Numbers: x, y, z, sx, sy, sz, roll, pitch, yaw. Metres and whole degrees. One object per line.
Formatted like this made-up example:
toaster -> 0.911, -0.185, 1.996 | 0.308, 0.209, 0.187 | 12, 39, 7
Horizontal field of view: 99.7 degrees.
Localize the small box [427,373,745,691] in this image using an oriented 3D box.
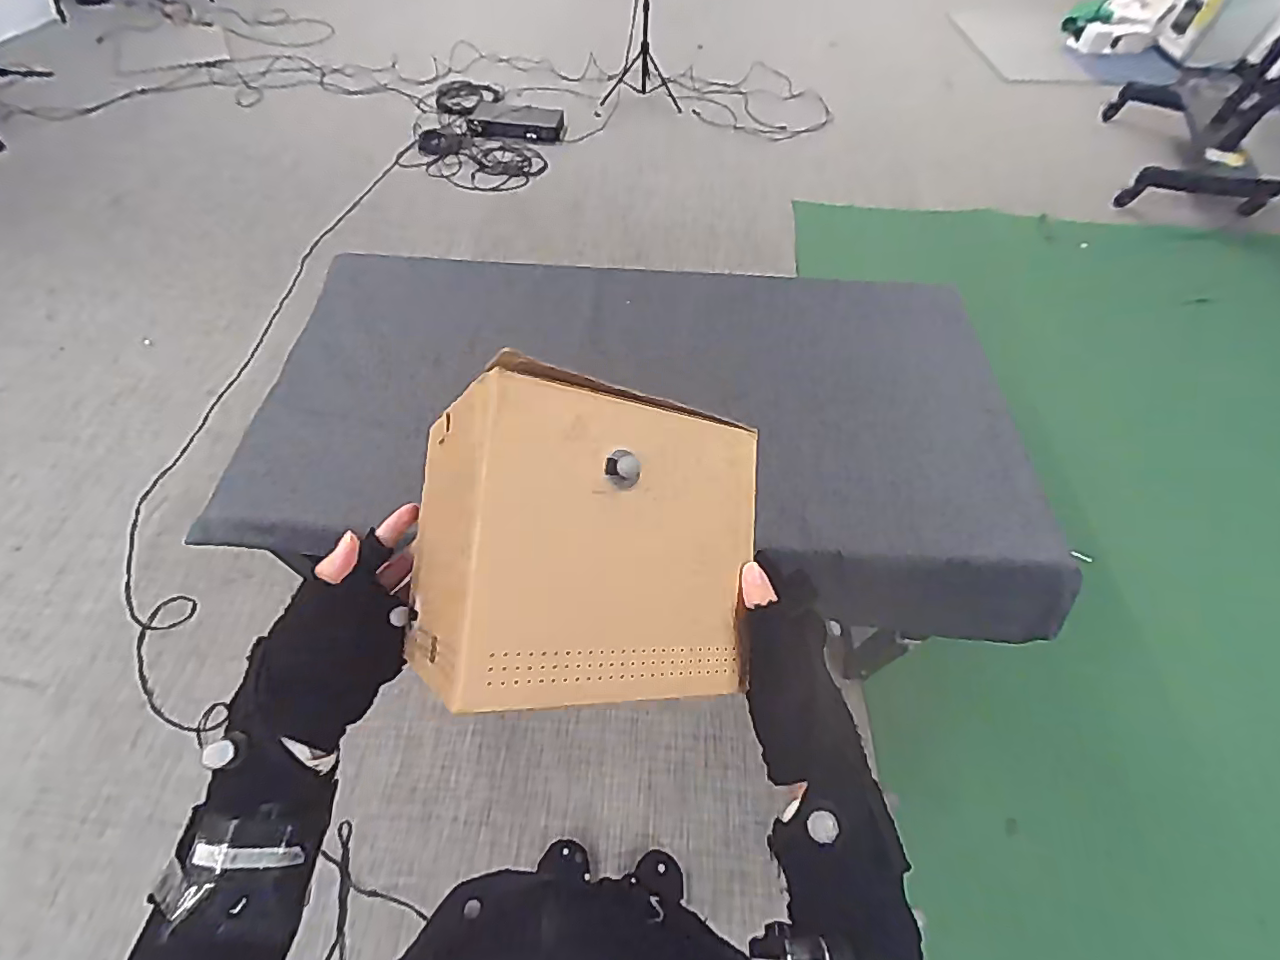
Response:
small box -> -0.043, 0.046, 0.383 | 0.179, 0.168, 0.176 | 10, 78, -31
